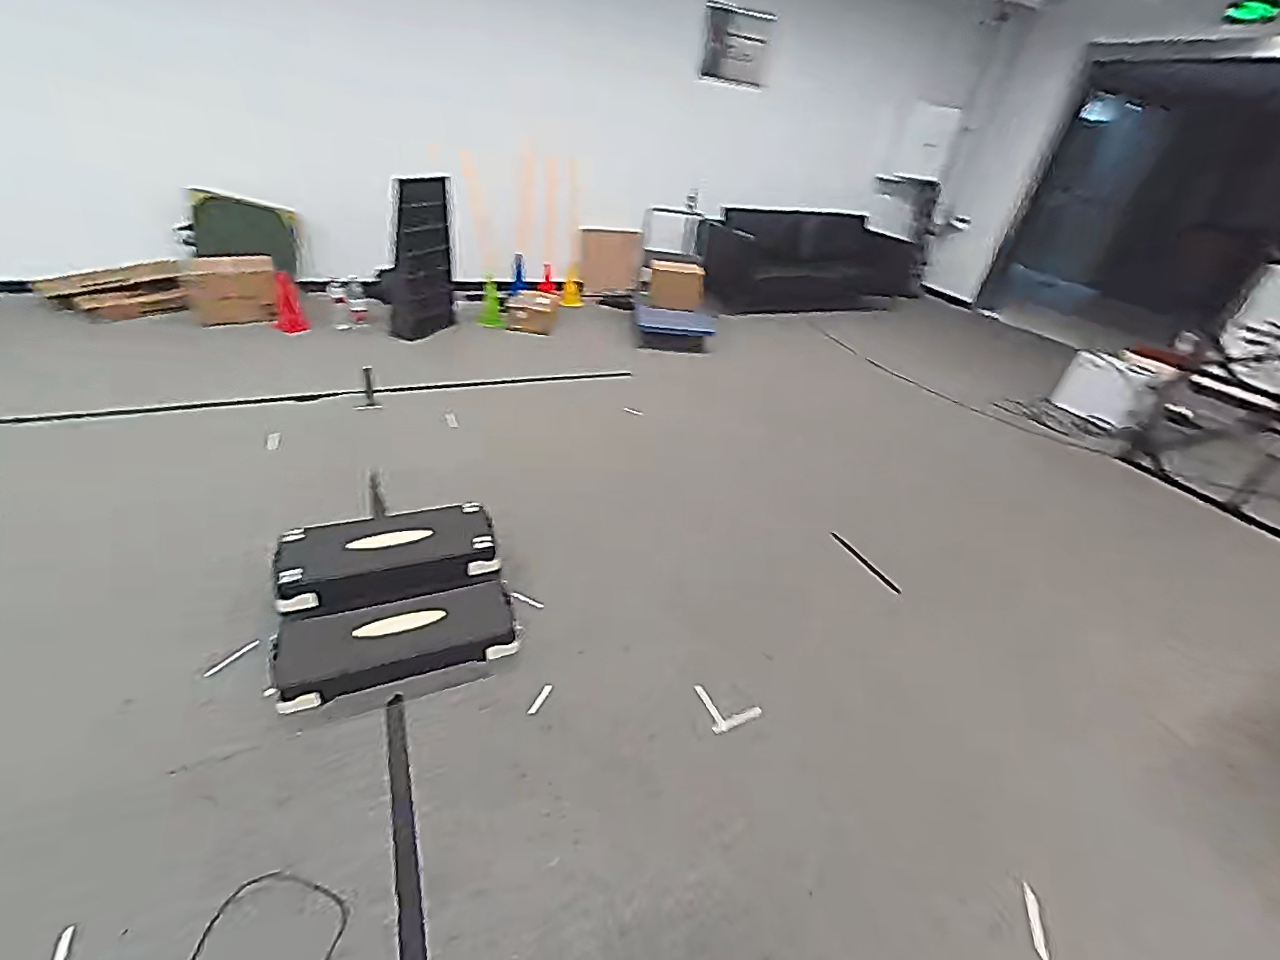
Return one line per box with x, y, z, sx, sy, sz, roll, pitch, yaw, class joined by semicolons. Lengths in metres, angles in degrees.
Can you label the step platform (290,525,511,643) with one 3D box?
-0.794;0.334;1.852;0.684;0.204;0.286;-4;34;-20;step platform
